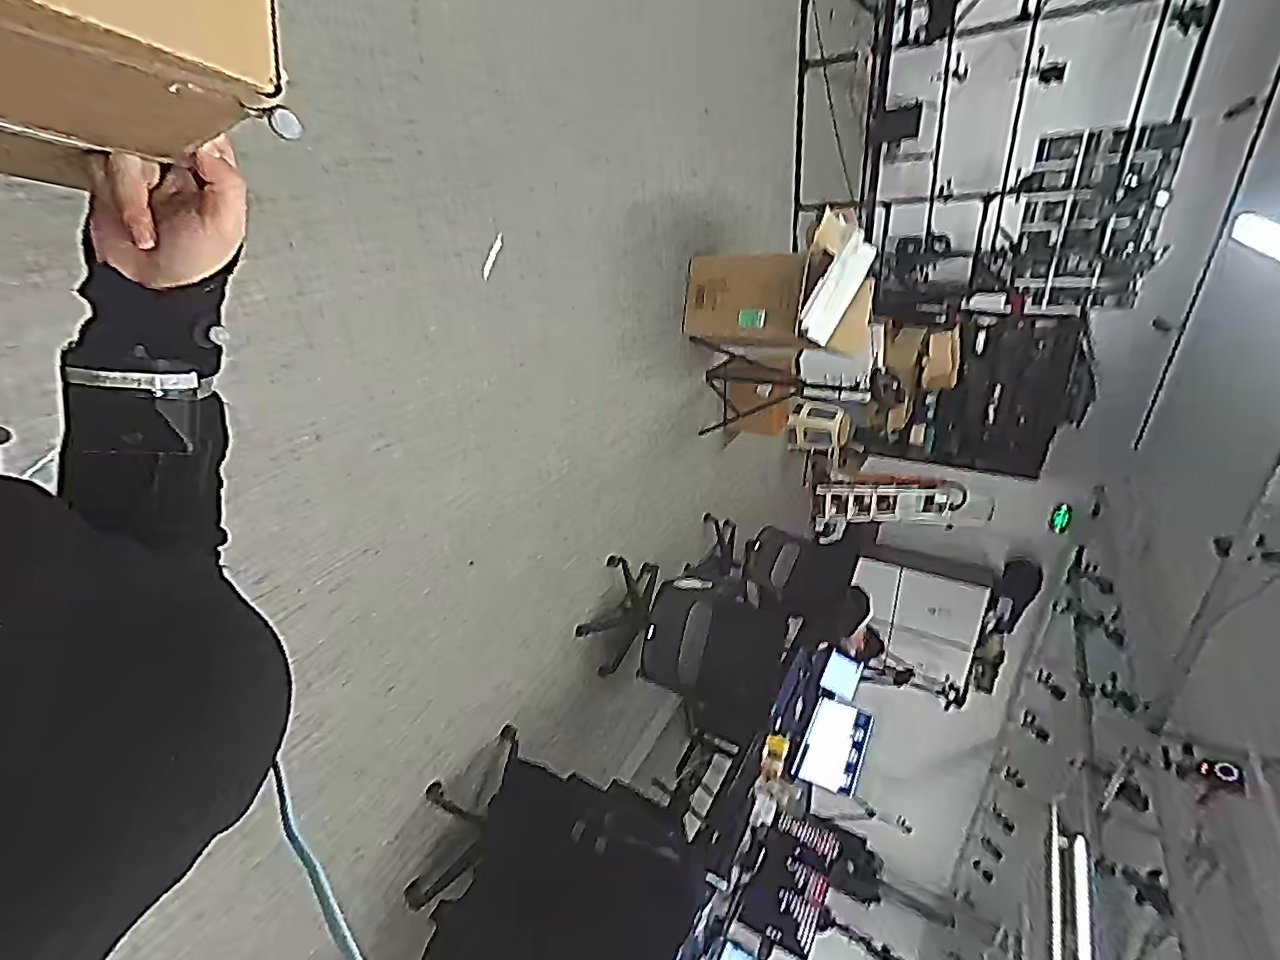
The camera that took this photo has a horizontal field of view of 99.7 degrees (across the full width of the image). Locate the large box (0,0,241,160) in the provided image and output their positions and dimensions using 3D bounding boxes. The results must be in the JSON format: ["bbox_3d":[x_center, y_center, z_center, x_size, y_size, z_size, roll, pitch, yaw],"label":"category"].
[{"bbox_3d":[-0.388,-0.311,0.108,0.408,0.320,0.320,-16,115,-51],"label":"large box"}]
